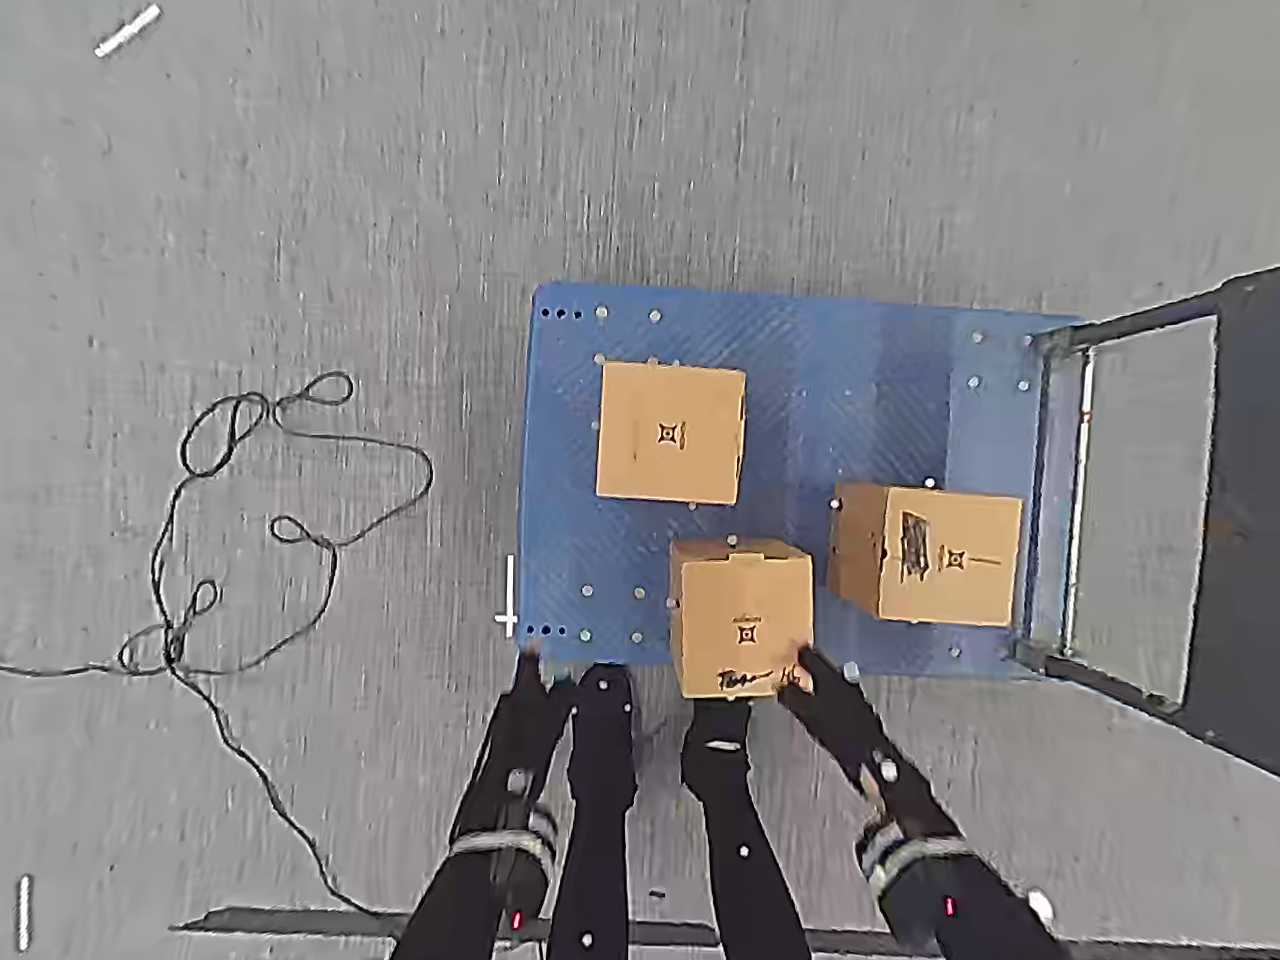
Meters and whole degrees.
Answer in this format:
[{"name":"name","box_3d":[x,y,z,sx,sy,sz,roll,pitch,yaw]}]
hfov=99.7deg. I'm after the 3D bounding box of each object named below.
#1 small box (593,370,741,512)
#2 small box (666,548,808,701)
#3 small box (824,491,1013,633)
[{"name":"small box","box_3d":[0.031,-0.050,0.746,0.179,0.176,0.168,4,90,-2]},{"name":"small box","box_3d":[0.125,0.188,0.755,0.168,0.176,0.179,-1,90,-2]},{"name":"small box","box_3d":[0.376,0.105,0.761,0.179,0.176,0.168,5,91,-3]}]
